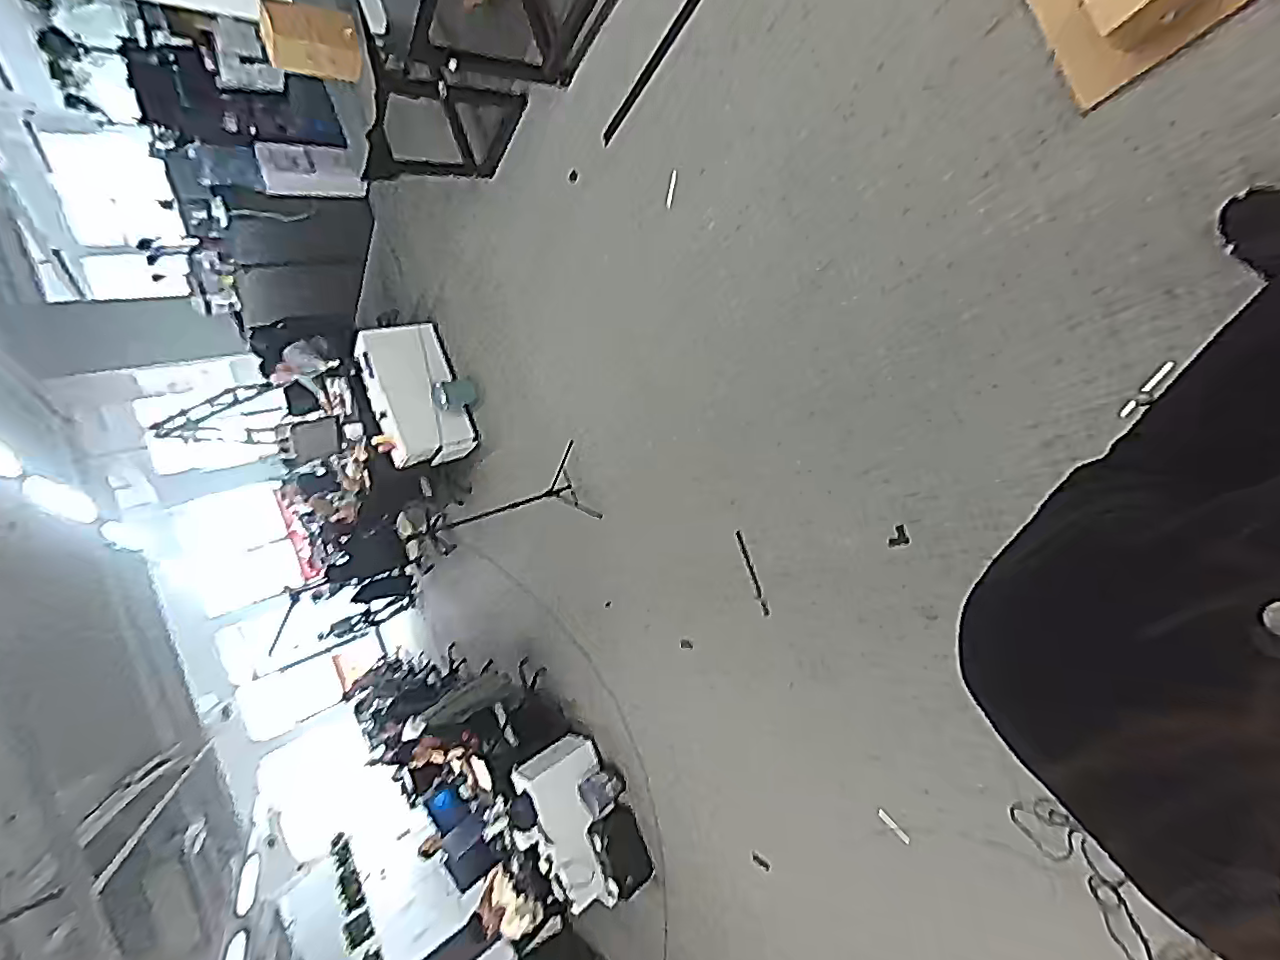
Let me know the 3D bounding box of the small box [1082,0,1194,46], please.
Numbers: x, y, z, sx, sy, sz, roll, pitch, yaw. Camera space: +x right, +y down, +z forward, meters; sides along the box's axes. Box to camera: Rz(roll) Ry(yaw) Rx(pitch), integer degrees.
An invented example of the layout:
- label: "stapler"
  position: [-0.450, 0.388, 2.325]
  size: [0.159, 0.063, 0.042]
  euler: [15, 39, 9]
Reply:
- label: "small box"
  position: [0.931, -0.950, 0.995]
  size: [0.168, 0.176, 0.179]
  euler: [-27, 85, 55]
